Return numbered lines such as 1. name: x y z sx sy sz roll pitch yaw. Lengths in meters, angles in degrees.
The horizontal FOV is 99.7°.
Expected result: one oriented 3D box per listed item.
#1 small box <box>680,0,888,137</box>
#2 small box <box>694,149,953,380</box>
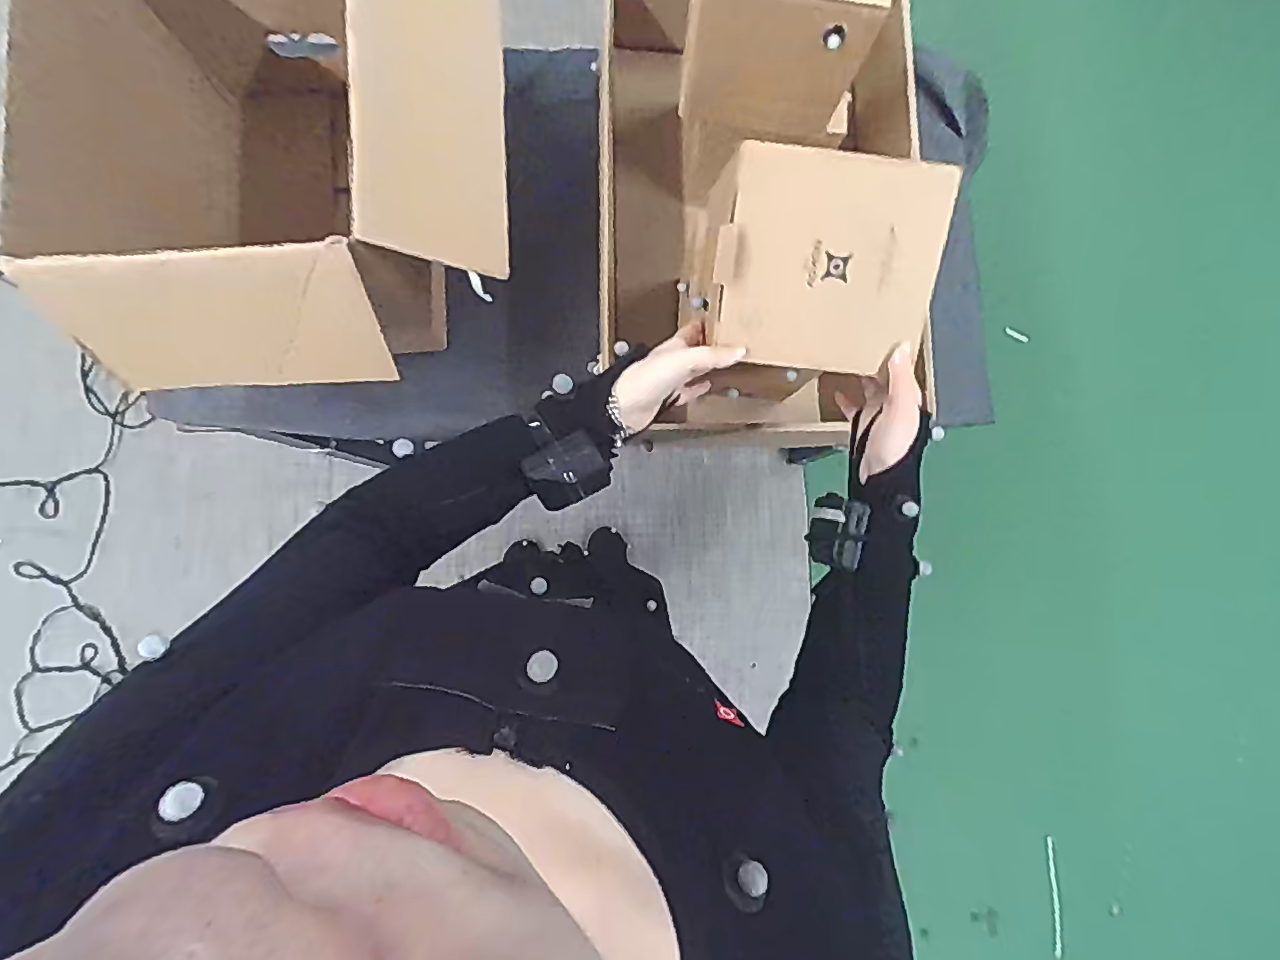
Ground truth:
1. small box: 0.142 -0.503 0.574 0.179 0.176 0.168 7 86 -4
2. small box: 0.154 -0.198 0.526 0.179 0.176 0.168 5 109 -4
